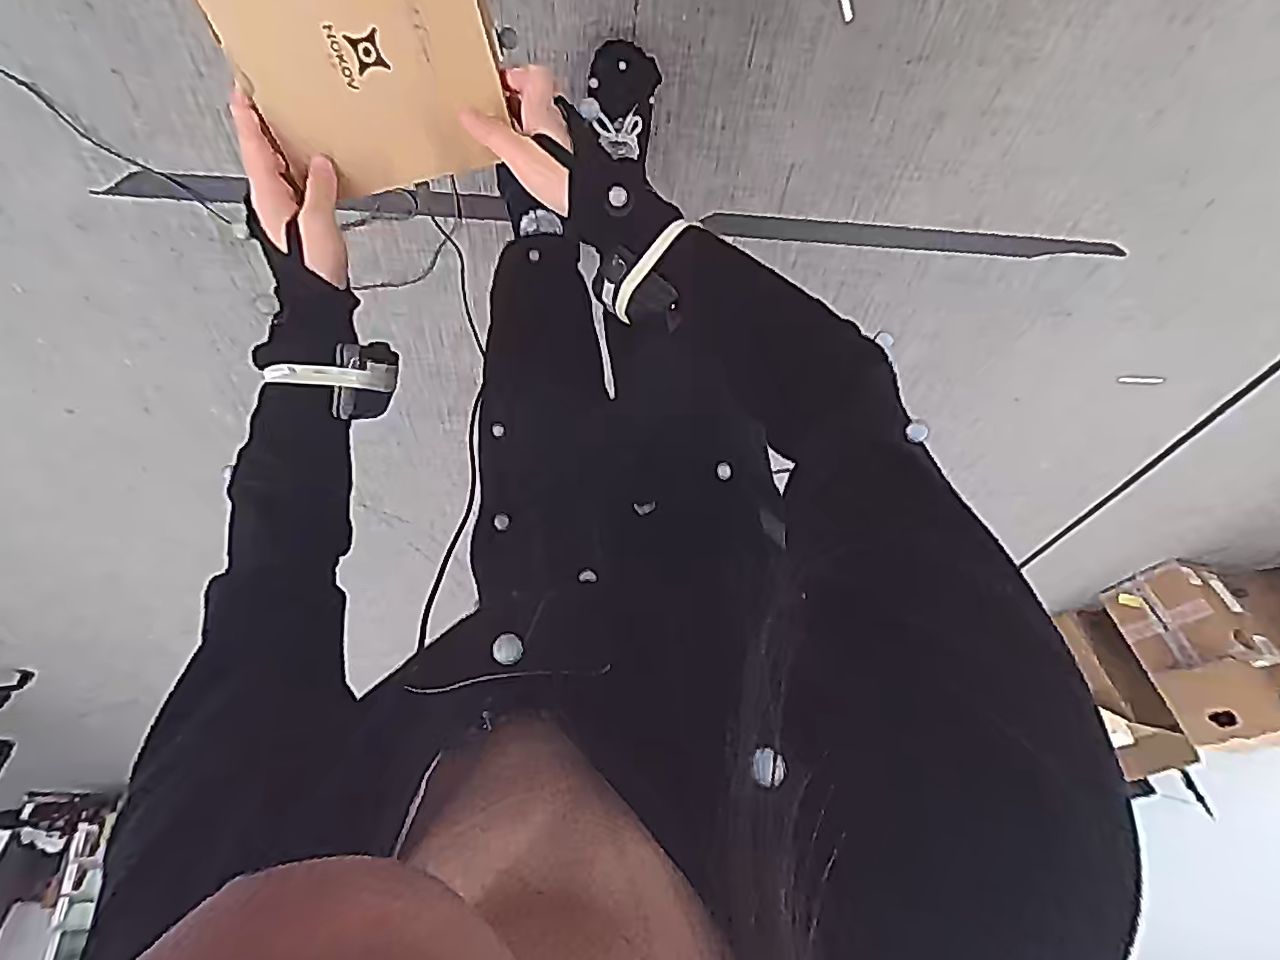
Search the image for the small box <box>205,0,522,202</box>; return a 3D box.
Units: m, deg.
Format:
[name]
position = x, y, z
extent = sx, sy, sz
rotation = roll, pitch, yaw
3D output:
[small box]
position = -0.202, -0.350, 0.437
extent = 0.179, 0.176, 0.168
rotation = -14, 133, 0
